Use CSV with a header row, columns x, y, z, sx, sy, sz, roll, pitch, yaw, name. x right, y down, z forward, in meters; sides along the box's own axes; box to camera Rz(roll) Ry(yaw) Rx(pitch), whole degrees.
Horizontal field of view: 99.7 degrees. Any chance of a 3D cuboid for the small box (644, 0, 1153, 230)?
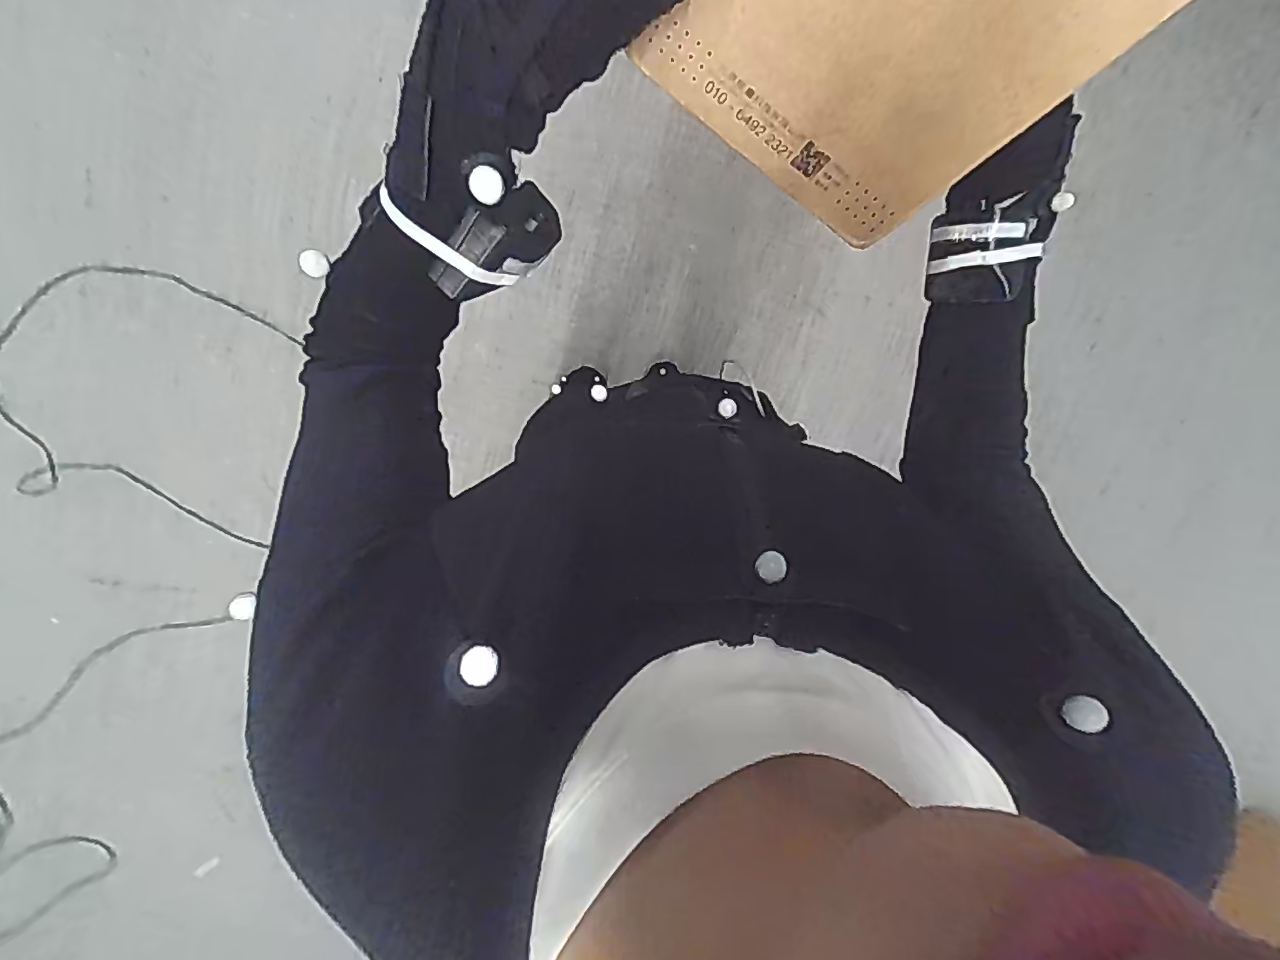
x,y,z,sx,sy,sz,roll,pitch,yaw,name
0.122,-0.269,0.259,0.168,0.176,0.179,28,62,-17,small box
